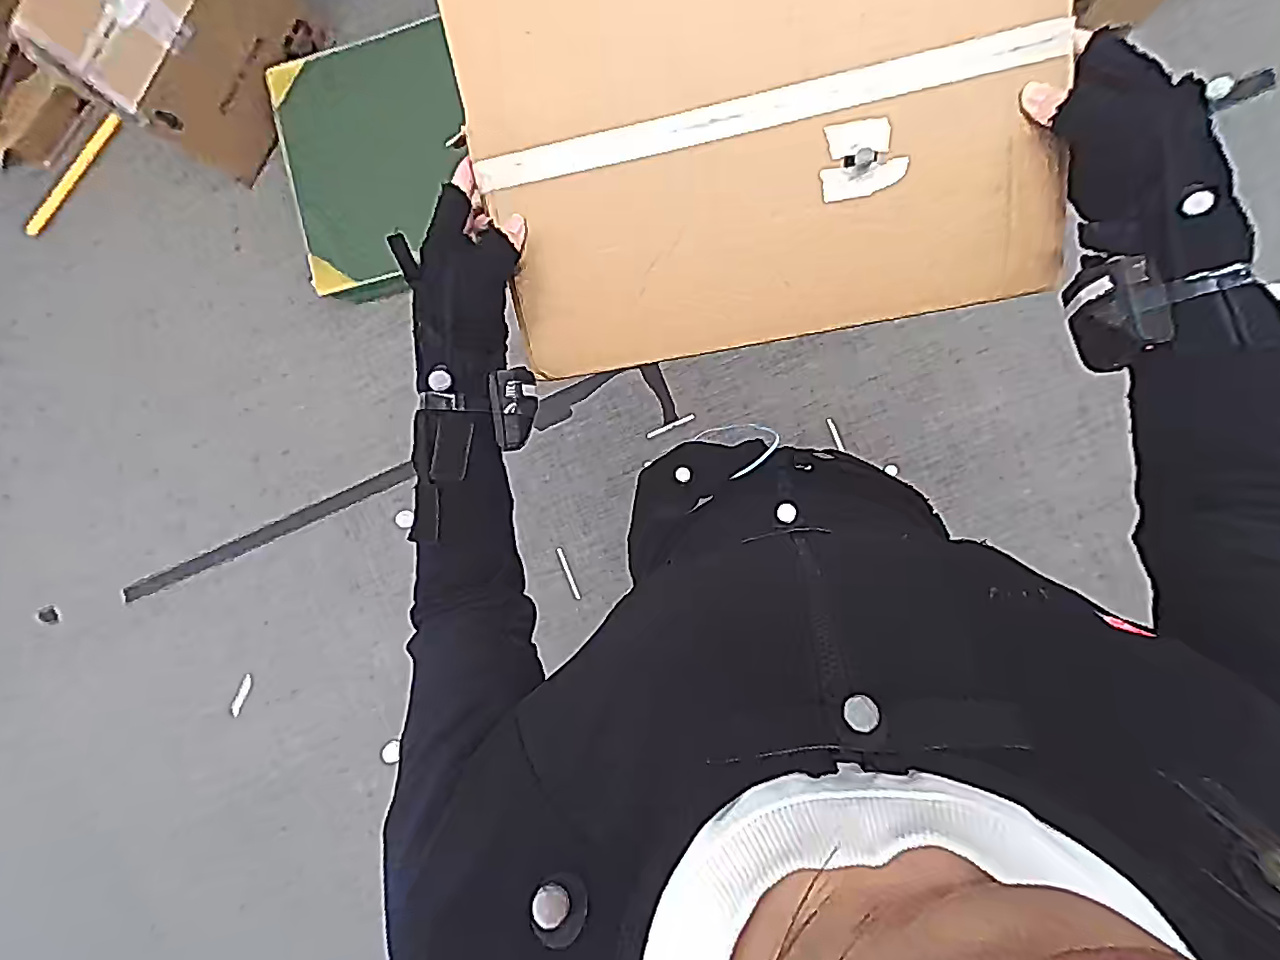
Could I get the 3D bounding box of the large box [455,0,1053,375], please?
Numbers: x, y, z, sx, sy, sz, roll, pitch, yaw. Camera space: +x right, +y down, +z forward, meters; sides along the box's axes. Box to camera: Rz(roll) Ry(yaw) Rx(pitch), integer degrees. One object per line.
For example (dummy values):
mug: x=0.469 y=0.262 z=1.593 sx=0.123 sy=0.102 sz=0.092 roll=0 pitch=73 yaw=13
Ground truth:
large box: x=0.093 y=-0.309 z=0.534 sx=0.408 sy=0.320 sz=0.320 roll=-9 pitch=108 yaw=7
